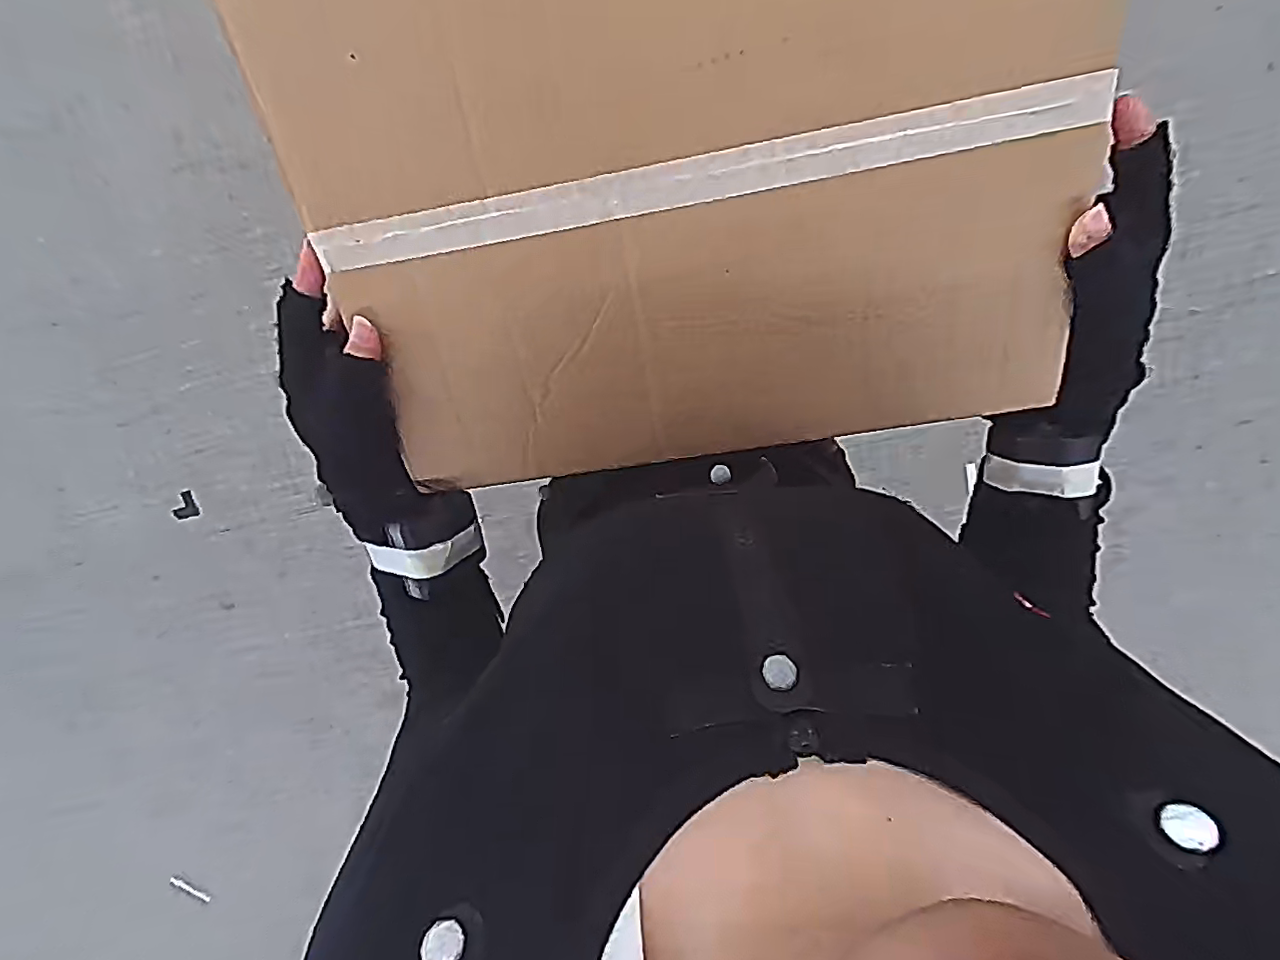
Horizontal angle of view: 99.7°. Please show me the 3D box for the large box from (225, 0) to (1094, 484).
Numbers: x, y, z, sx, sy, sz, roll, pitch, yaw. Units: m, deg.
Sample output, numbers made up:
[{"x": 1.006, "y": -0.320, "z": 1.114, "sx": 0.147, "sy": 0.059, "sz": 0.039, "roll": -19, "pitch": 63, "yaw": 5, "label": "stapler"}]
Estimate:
[{"x": 0.024, "y": -0.230, "z": 0.417, "sx": 0.408, "sy": 0.320, "sz": 0.320, "roll": -8, "pitch": 117, "yaw": 6, "label": "large box"}]
